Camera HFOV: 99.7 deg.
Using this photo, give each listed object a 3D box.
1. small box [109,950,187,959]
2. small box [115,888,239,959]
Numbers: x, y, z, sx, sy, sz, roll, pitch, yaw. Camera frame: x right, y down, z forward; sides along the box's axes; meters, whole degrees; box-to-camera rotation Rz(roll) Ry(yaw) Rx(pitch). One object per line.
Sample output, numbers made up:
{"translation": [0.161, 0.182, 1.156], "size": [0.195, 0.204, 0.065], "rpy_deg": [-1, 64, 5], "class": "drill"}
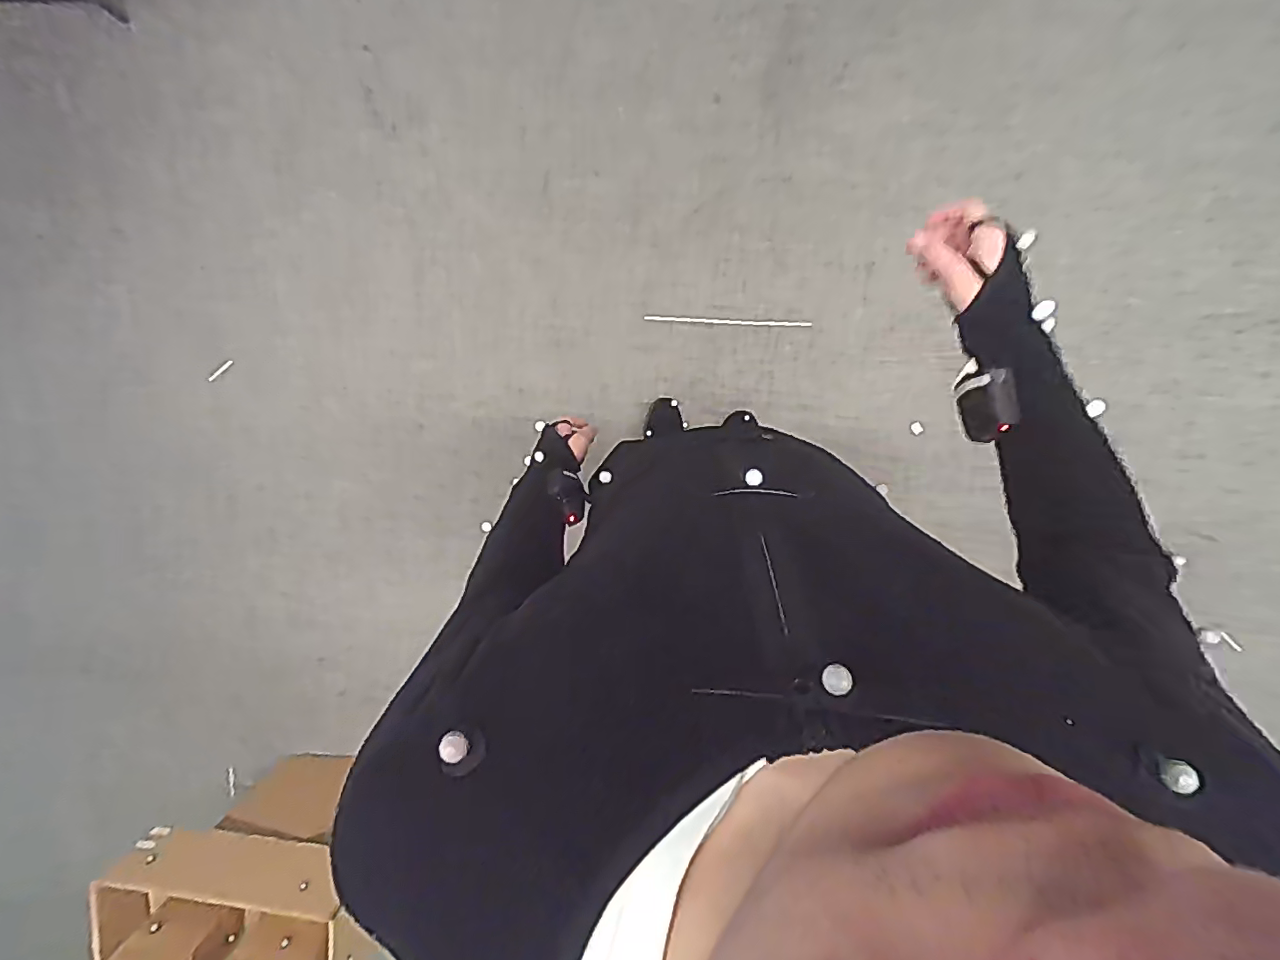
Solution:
{"translation": [-1.170, 1.207, 1.213], "size": [0.179, 0.176, 0.168], "rpy_deg": [5, 98, 0], "class": "small box"}
{"translation": [-1.168, 1.182, 1.372], "size": [0.179, 0.176, 0.168], "rpy_deg": [6, 99, 1], "class": "small box"}
